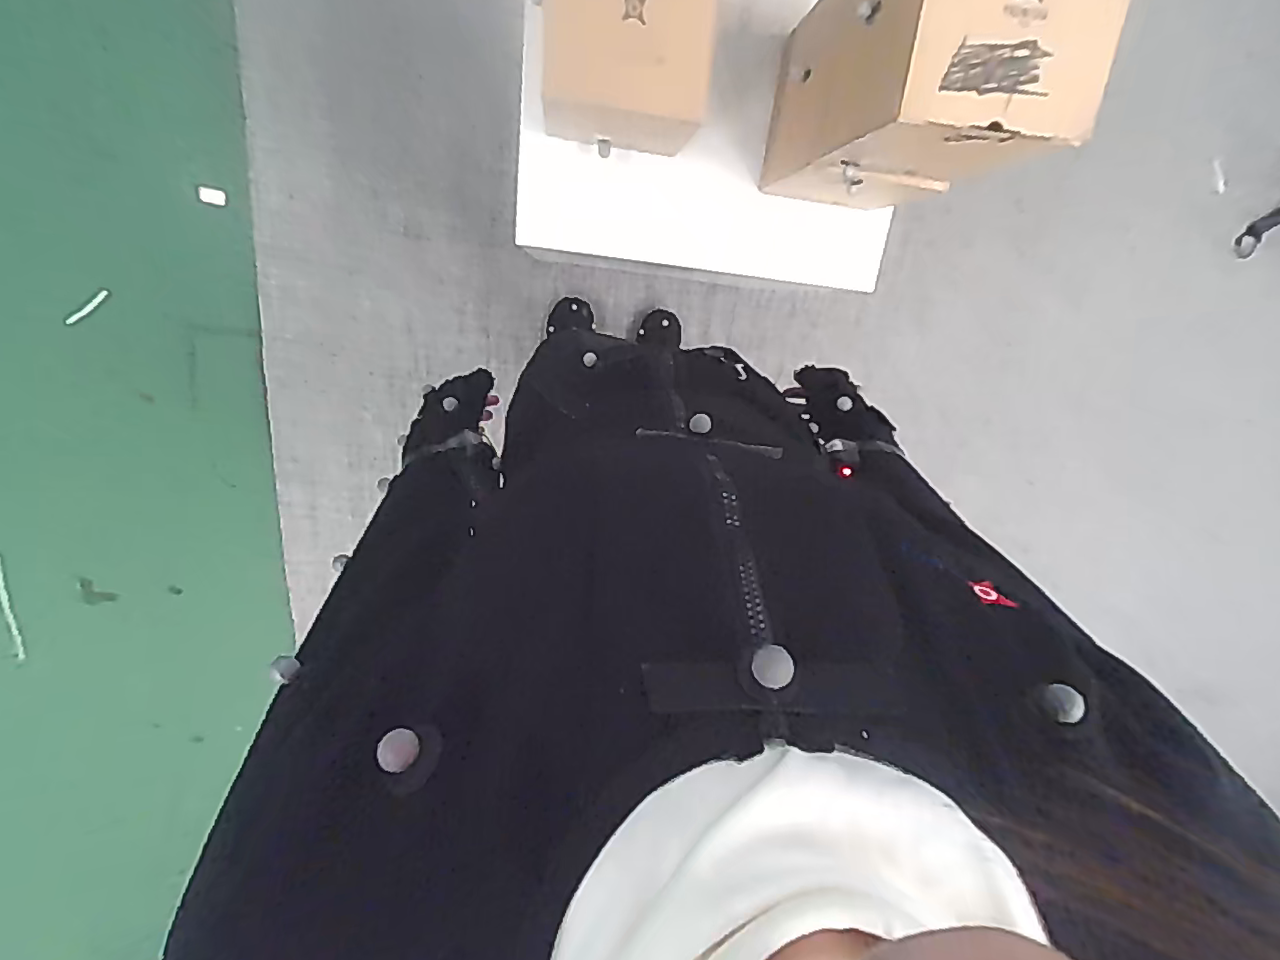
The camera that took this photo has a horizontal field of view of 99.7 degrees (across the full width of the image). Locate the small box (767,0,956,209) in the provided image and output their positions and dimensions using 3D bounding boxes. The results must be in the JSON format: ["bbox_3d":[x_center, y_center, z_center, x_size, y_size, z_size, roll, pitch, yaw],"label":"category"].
[{"bbox_3d":[0.260,-0.430,0.624,0.168,0.176,0.179,5,109,-7],"label":"small box"}]

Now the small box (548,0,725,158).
[{"bbox_3d":[-0.011,-0.469,0.580,0.168,0.176,0.179,3,111,-7],"label":"small box"}]

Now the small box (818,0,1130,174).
[{"bbox_3d":[0.272,-0.380,0.467,0.168,0.176,0.179,2,109,-7],"label":"small box"}]
